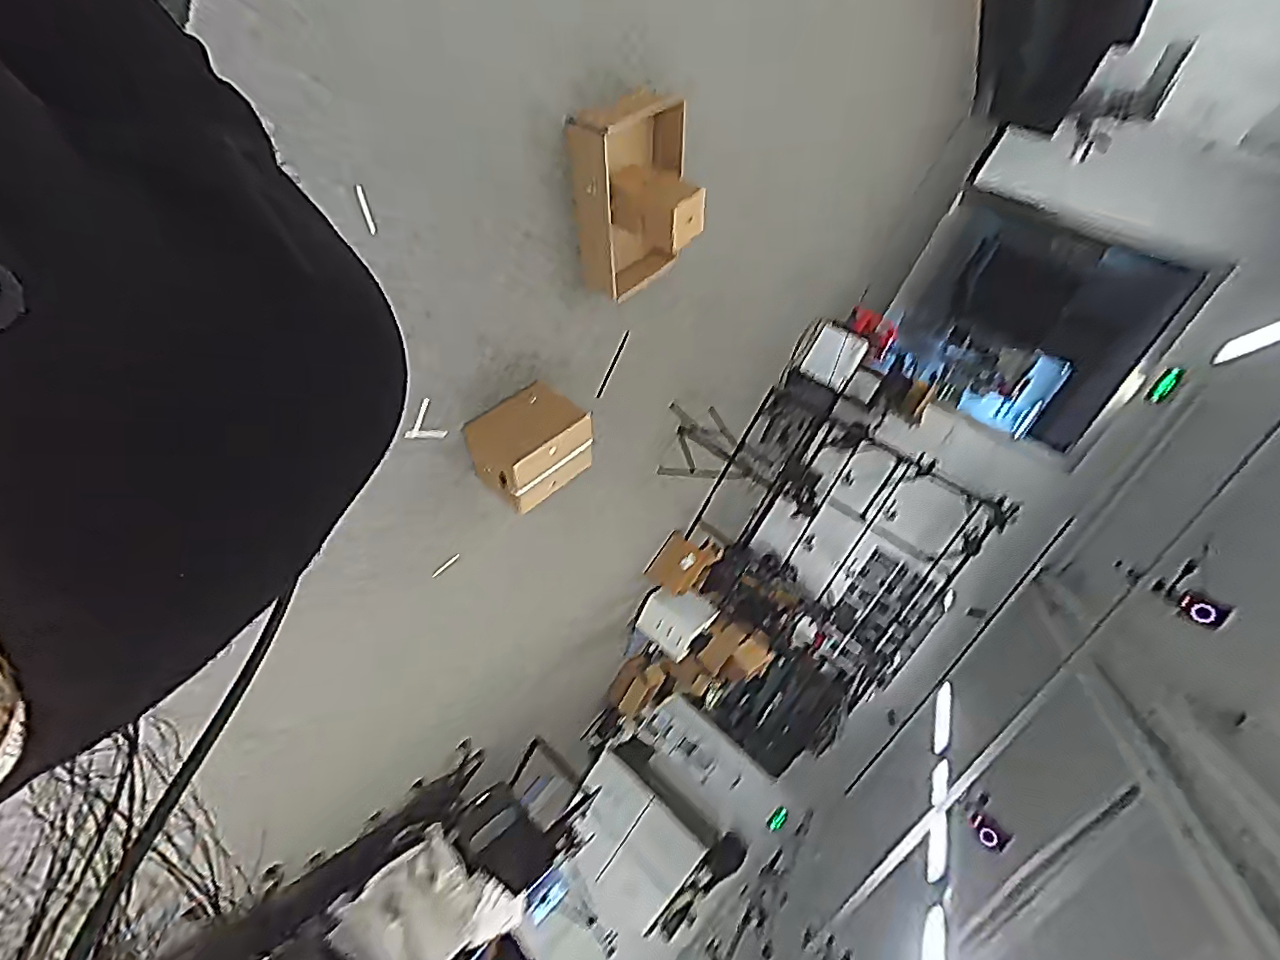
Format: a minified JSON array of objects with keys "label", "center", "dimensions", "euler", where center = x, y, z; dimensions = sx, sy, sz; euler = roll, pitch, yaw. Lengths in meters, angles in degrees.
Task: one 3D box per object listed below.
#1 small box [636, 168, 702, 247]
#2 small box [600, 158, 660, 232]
[{"label":"small box","center":[0.098,-0.970,1.919],"dimensions":[0.179,0.176,0.168],"euler":[-46,156,-22]},{"label":"small box","center":[-0.024,-1.051,1.987],"dimensions":[0.179,0.176,0.168],"euler":[-42,154,-25]}]
